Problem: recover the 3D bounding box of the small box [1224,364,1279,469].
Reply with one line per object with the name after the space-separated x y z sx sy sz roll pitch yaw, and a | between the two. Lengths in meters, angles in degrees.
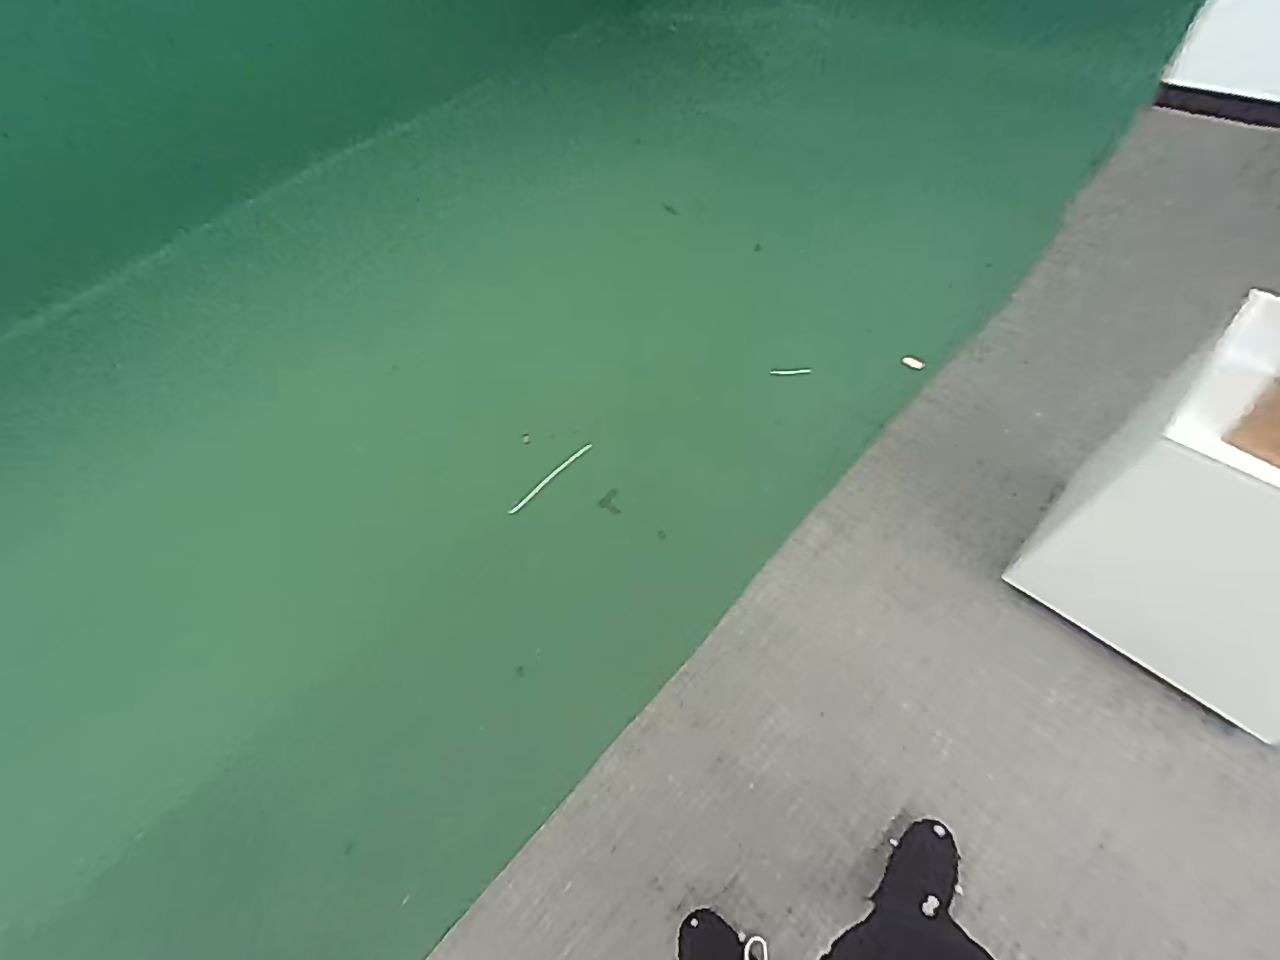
0.935 -0.101 0.699 0.179 0.176 0.168 -38 62 -18 | small box
